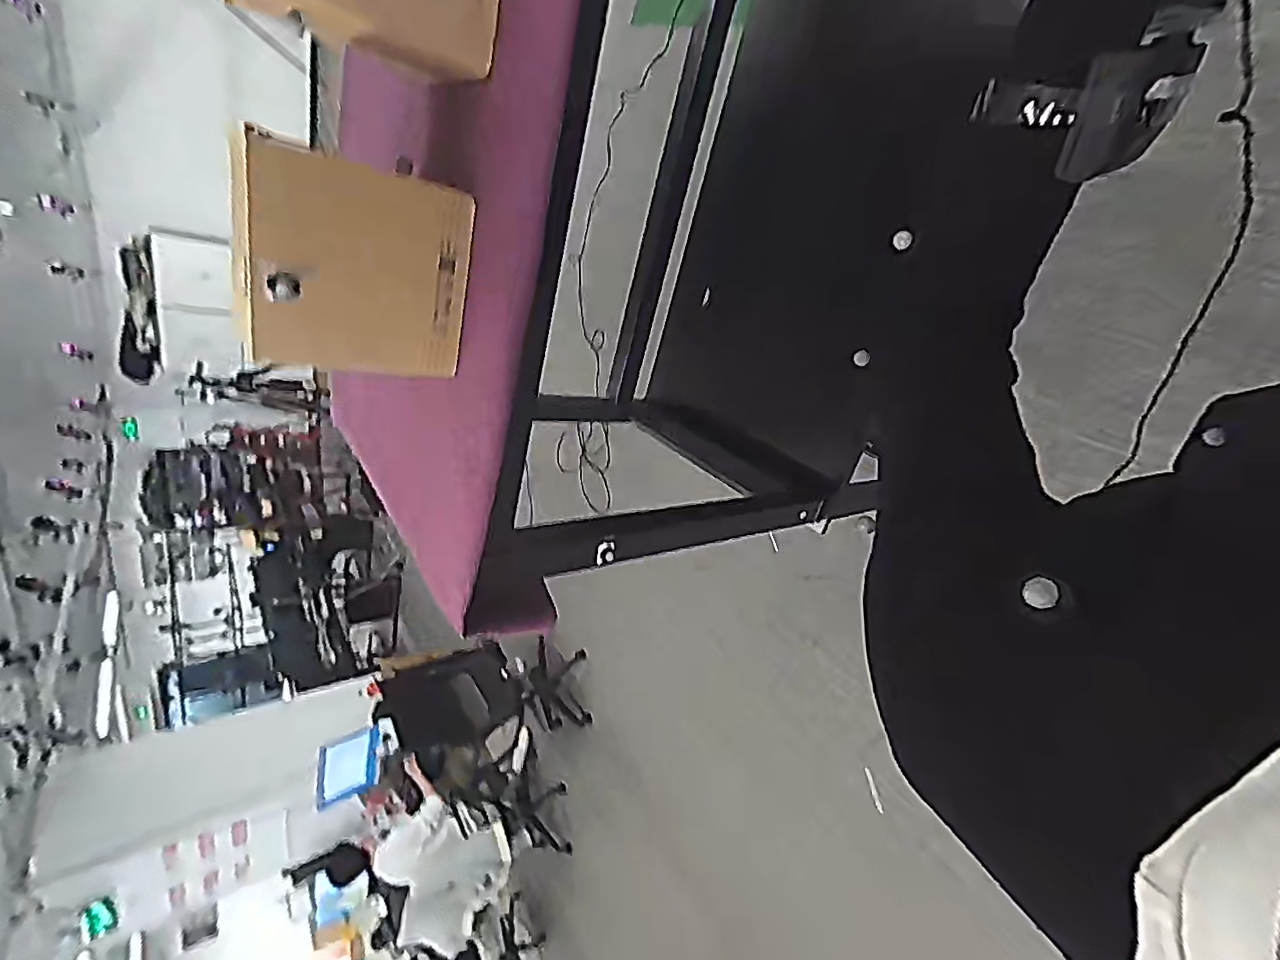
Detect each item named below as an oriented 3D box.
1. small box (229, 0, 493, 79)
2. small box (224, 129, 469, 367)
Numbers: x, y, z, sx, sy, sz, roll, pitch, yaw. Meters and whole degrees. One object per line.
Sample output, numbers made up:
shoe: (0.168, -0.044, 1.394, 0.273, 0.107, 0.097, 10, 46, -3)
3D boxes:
small box: (-0.216, -0.435, 0.413, 0.179, 0.176, 0.168, 38, 122, 42)
small box: (-0.278, -0.209, 0.507, 0.179, 0.176, 0.168, 37, 122, 44)
